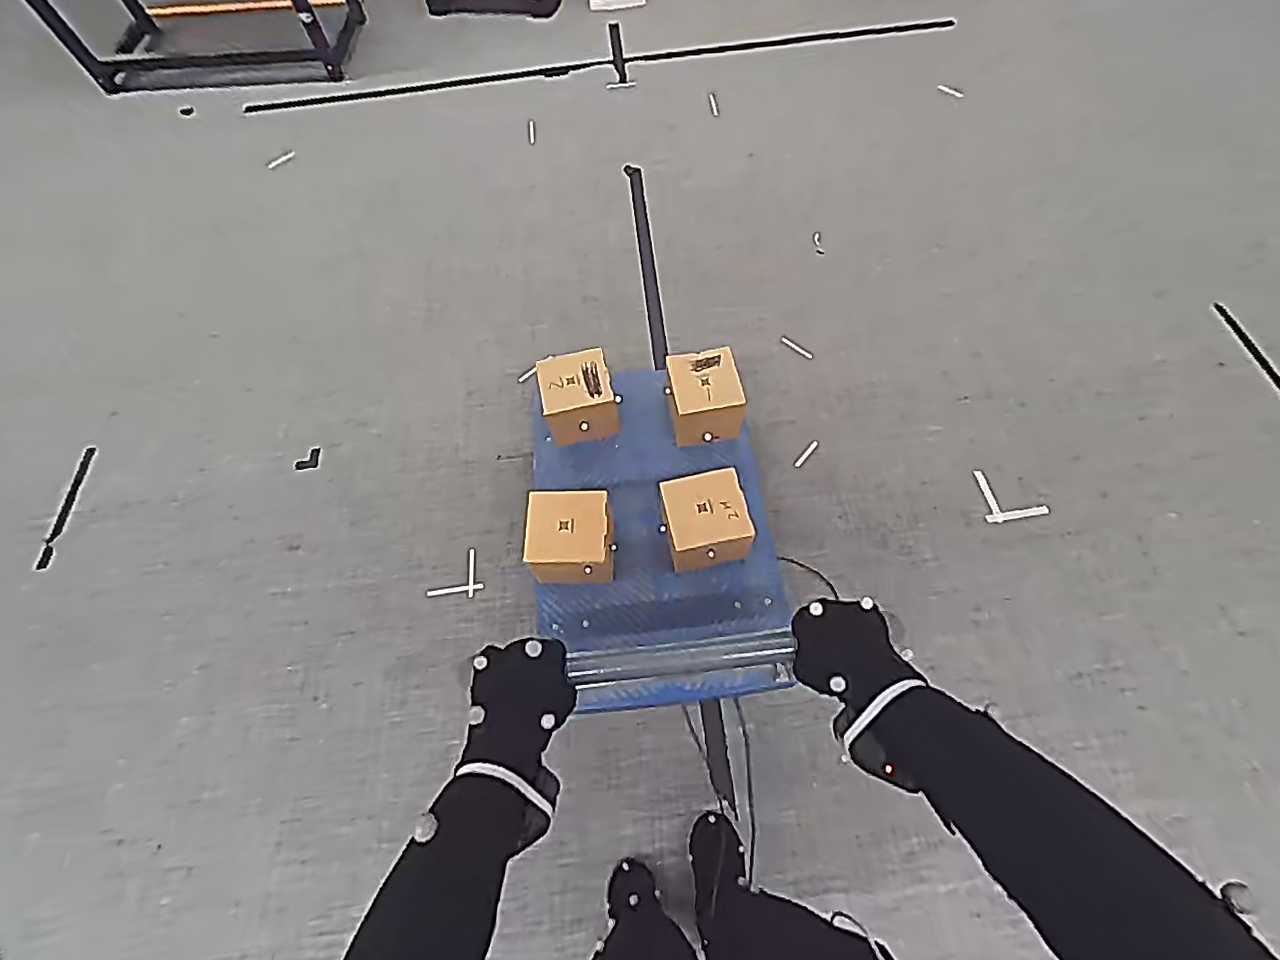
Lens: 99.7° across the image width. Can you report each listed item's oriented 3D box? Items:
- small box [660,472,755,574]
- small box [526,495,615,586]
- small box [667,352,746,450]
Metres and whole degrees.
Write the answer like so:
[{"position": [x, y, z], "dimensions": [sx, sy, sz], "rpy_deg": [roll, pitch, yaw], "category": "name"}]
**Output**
[{"position": [0.151, 0.105, 1.246], "dimensions": [0.179, 0.176, 0.168], "rpy_deg": [-12, 64, -2], "category": "small box"}, {"position": [-0.152, 0.145, 1.246], "dimensions": [0.179, 0.176, 0.168], "rpy_deg": [-1, 64, 1], "category": "small box"}, {"position": [0.164, -0.200, 1.394], "dimensions": [0.168, 0.176, 0.179], "rpy_deg": [-10, 65, -1], "category": "small box"}]
